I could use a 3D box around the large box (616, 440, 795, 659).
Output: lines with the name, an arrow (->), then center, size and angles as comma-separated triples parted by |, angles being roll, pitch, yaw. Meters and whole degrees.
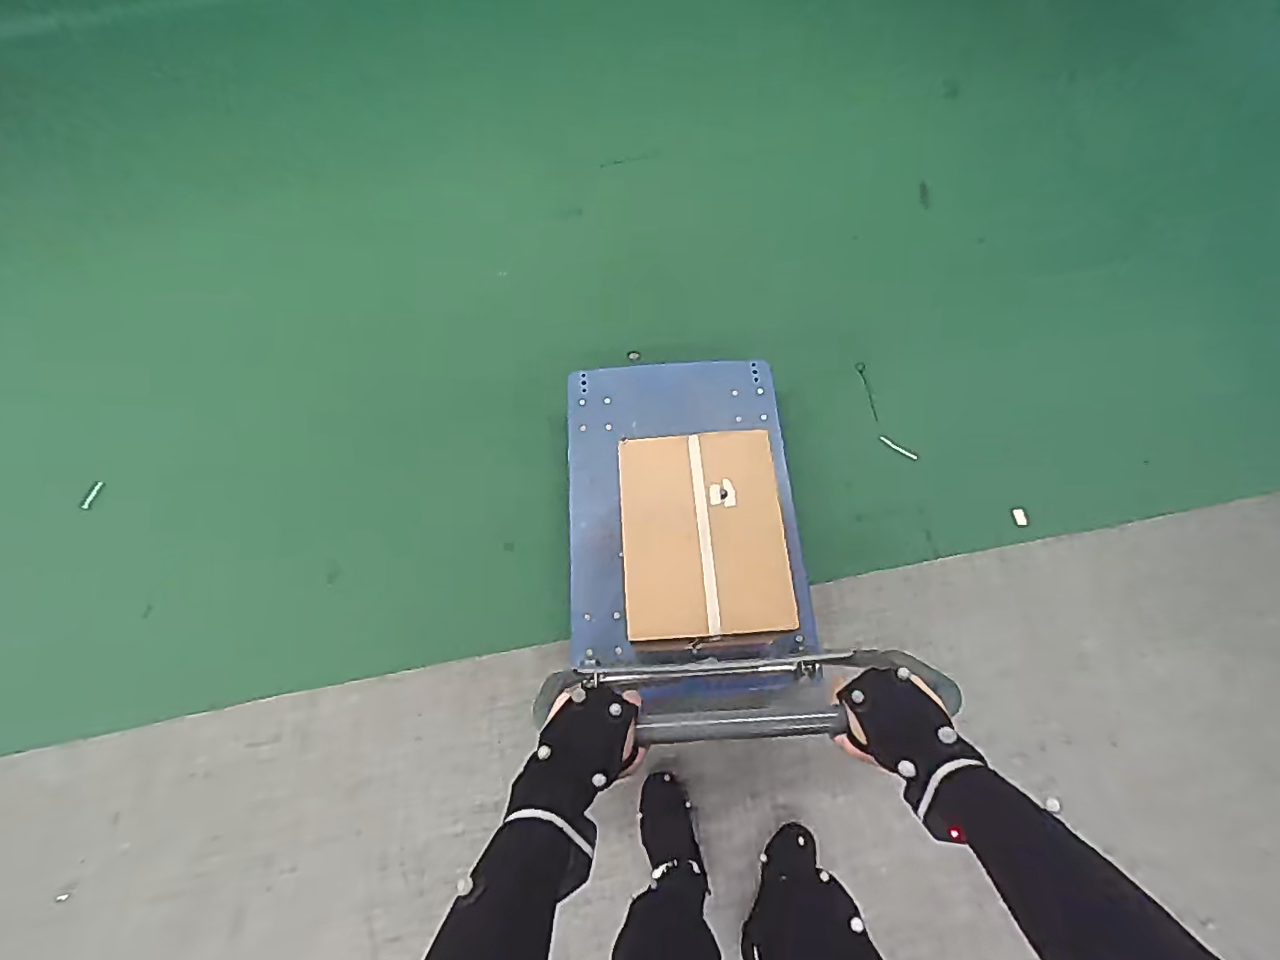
large box -> 0.125, 0.167, 1.197 | 0.320, 0.320, 0.408 | -4, 68, 0
